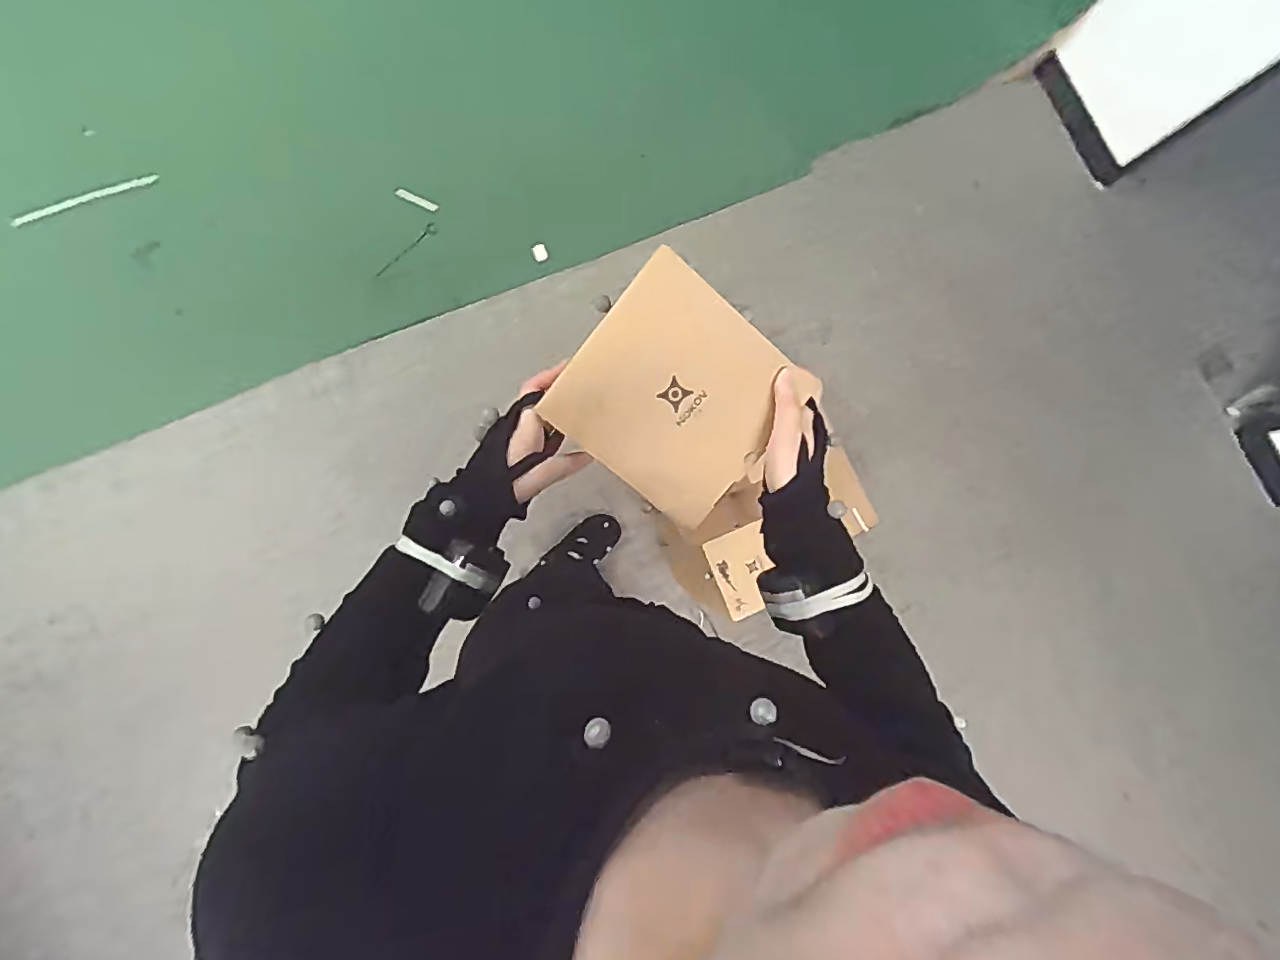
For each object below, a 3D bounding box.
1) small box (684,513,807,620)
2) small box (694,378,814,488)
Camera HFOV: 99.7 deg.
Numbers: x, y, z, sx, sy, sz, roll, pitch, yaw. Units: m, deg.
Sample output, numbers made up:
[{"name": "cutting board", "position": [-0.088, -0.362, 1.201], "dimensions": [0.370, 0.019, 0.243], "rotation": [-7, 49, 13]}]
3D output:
[{"name": "small box", "position": [0.213, 0.177, 1.142], "dimensions": [0.179, 0.176, 0.168], "rotation": [-21, 87, -11]}, {"name": "small box", "position": [0.242, -0.092, 1.183], "dimensions": [0.168, 0.176, 0.179], "rotation": [-27, 87, -12]}]
